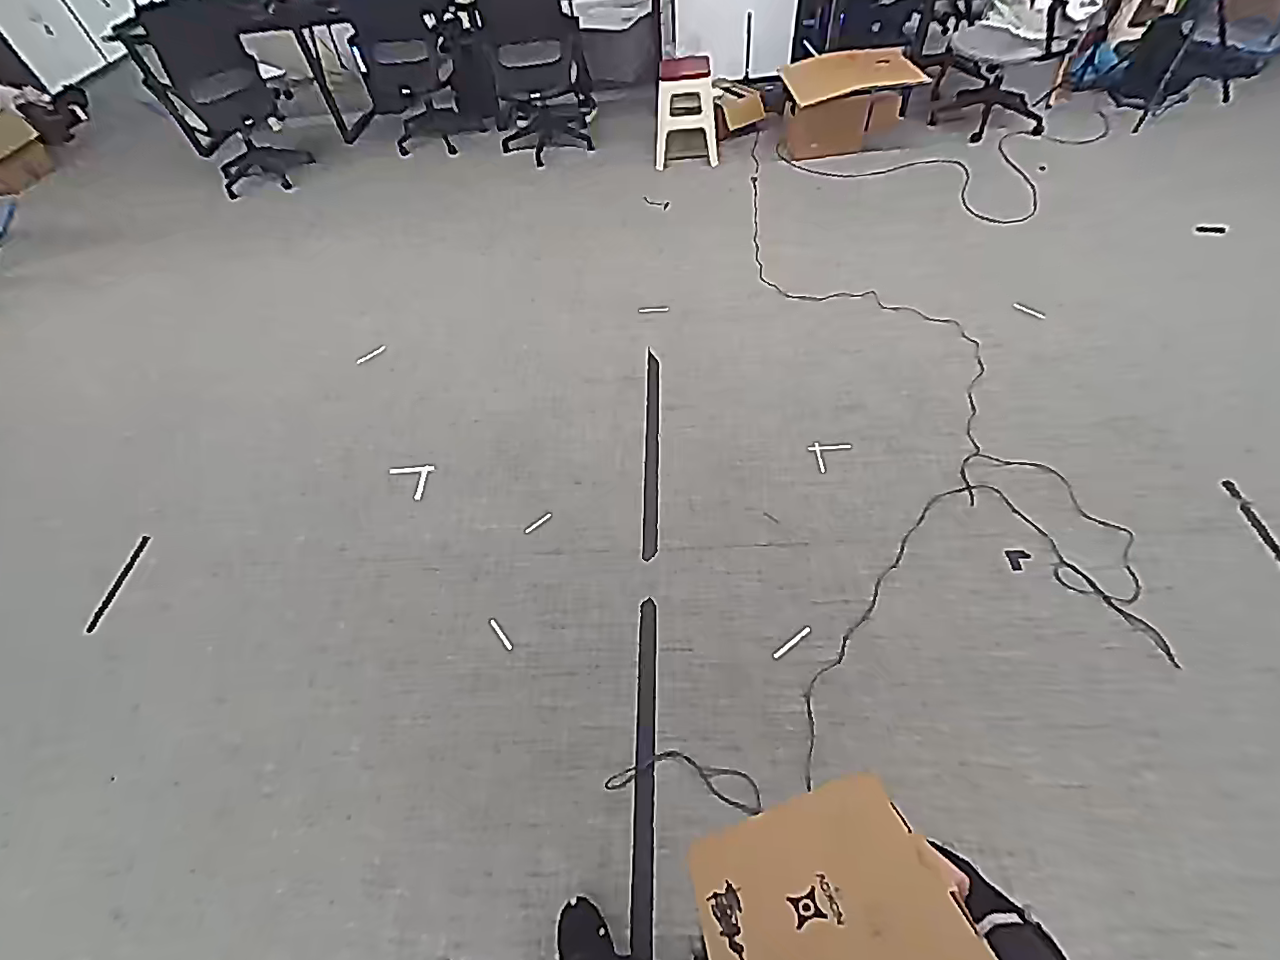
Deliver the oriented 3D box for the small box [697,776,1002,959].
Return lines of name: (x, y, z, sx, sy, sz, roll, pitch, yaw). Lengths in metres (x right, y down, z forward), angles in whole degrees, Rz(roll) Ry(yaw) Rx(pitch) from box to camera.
small box: (0.165, 0.383, 0.419, 0.179, 0.176, 0.168, -22, 15, 0)
